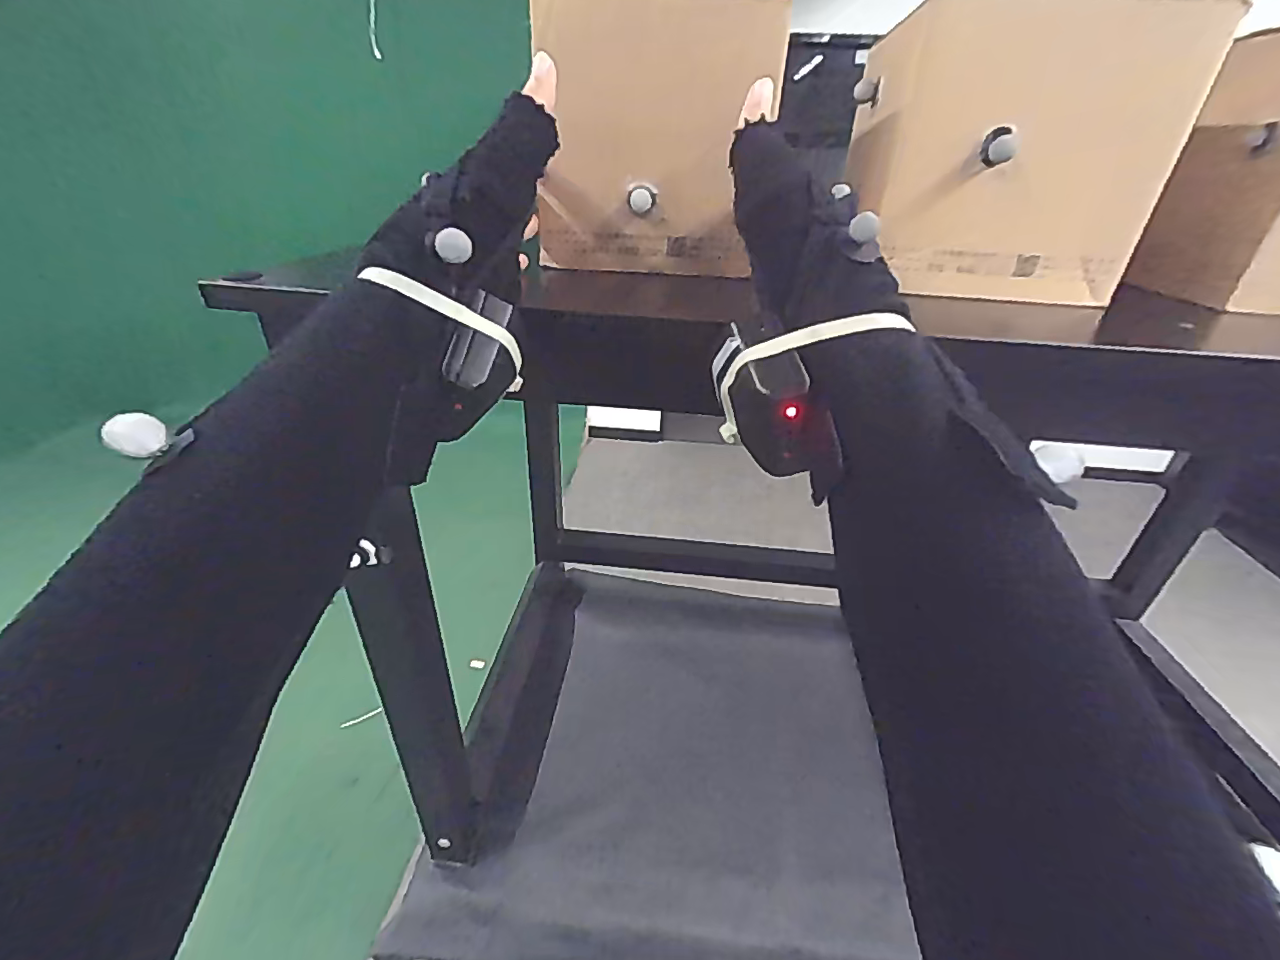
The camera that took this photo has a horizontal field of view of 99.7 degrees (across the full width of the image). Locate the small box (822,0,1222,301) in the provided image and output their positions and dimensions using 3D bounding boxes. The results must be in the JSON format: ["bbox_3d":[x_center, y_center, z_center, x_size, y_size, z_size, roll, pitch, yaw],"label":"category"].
[{"bbox_3d":[0.245,-0.239,0.408,0.168,0.176,0.179,6,30,7],"label":"small box"}]

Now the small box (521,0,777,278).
[{"bbox_3d":[0.005,-0.273,0.446,0.168,0.176,0.179,3,30,2],"label":"small box"}]
